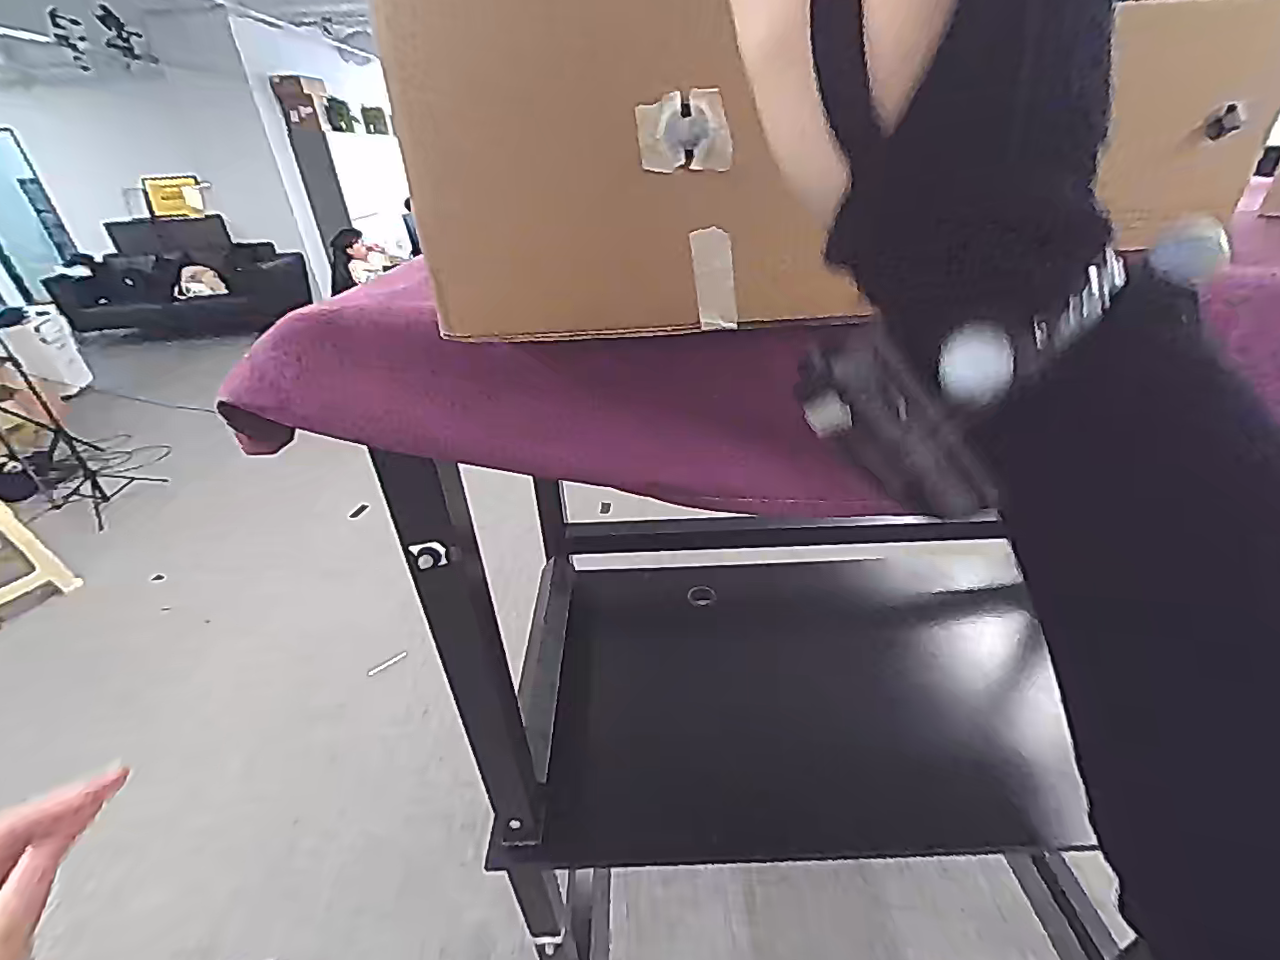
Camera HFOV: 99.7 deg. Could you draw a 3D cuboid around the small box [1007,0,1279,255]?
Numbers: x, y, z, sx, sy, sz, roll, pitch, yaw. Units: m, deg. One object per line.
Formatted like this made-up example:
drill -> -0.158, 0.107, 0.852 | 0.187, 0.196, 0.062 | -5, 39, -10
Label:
small box -> 0.391, -0.302, 0.475 | 0.179, 0.176, 0.168 | -3, 30, 1
